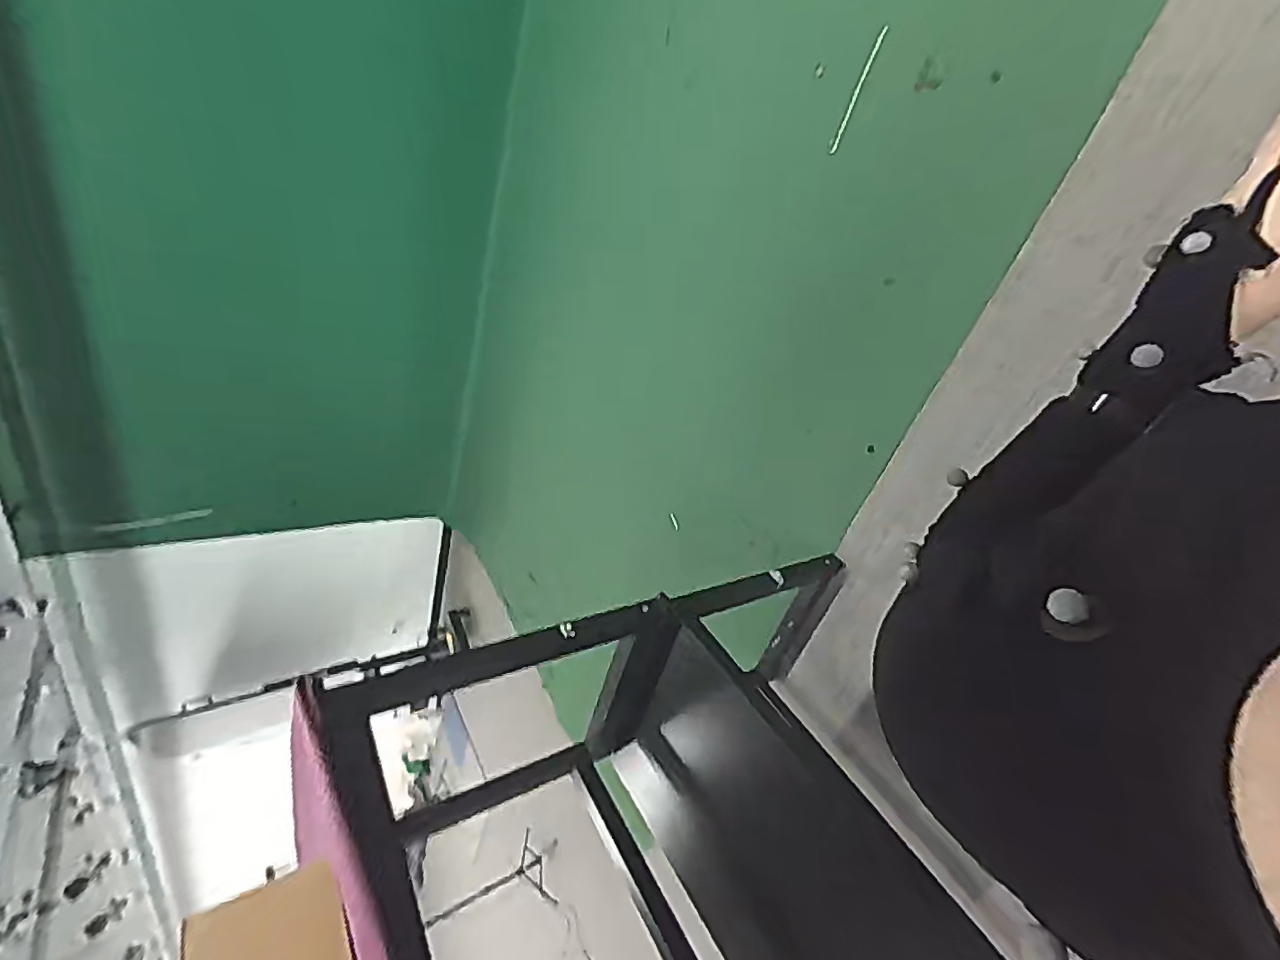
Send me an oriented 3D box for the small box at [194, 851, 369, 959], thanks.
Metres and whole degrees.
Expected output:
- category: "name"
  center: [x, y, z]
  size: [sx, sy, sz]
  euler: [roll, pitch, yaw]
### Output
- category: "small box"
  center: [-0.457, 0.642, 0.705]
  size: [0.179, 0.176, 0.168]
  euler: [46, 131, 39]
